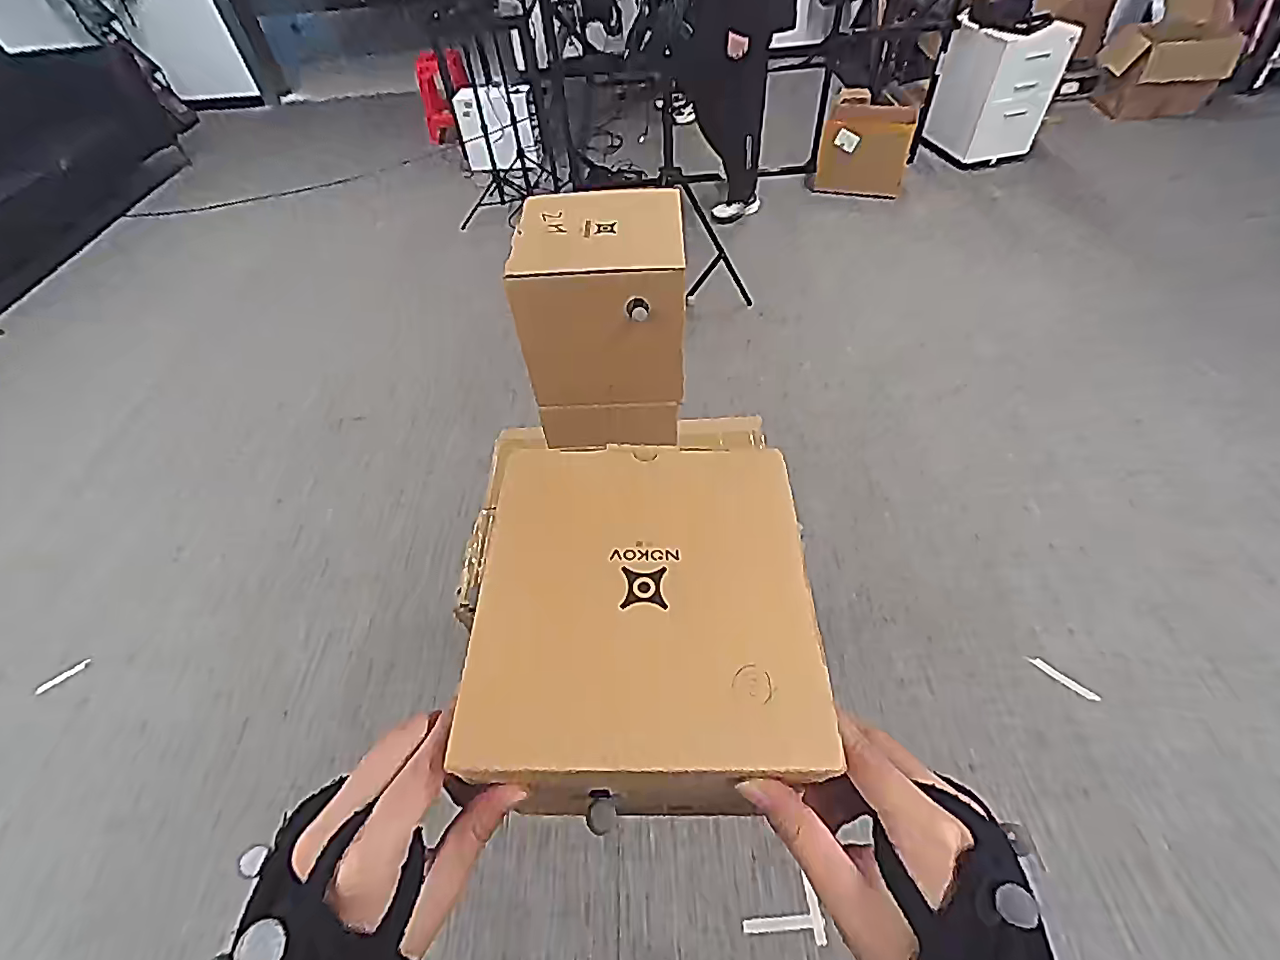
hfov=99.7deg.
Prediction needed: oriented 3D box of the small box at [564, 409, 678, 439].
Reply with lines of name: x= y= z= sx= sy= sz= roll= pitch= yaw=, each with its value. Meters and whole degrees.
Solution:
small box: x=-0.025 y=0.004 z=0.873 sx=0.179 sy=0.176 sz=0.168 roll=-1 pitch=51 yaw=3

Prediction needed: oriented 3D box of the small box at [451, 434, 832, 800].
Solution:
small box: x=0.002 y=0.092 z=0.339 sx=0.168 sy=0.176 sz=0.179 roll=-1 pitch=52 yaw=1

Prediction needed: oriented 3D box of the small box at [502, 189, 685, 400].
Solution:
small box: x=-0.040 y=-0.207 z=0.620 sx=0.179 sy=0.176 sz=0.168 roll=-2 pitch=51 yaw=3
